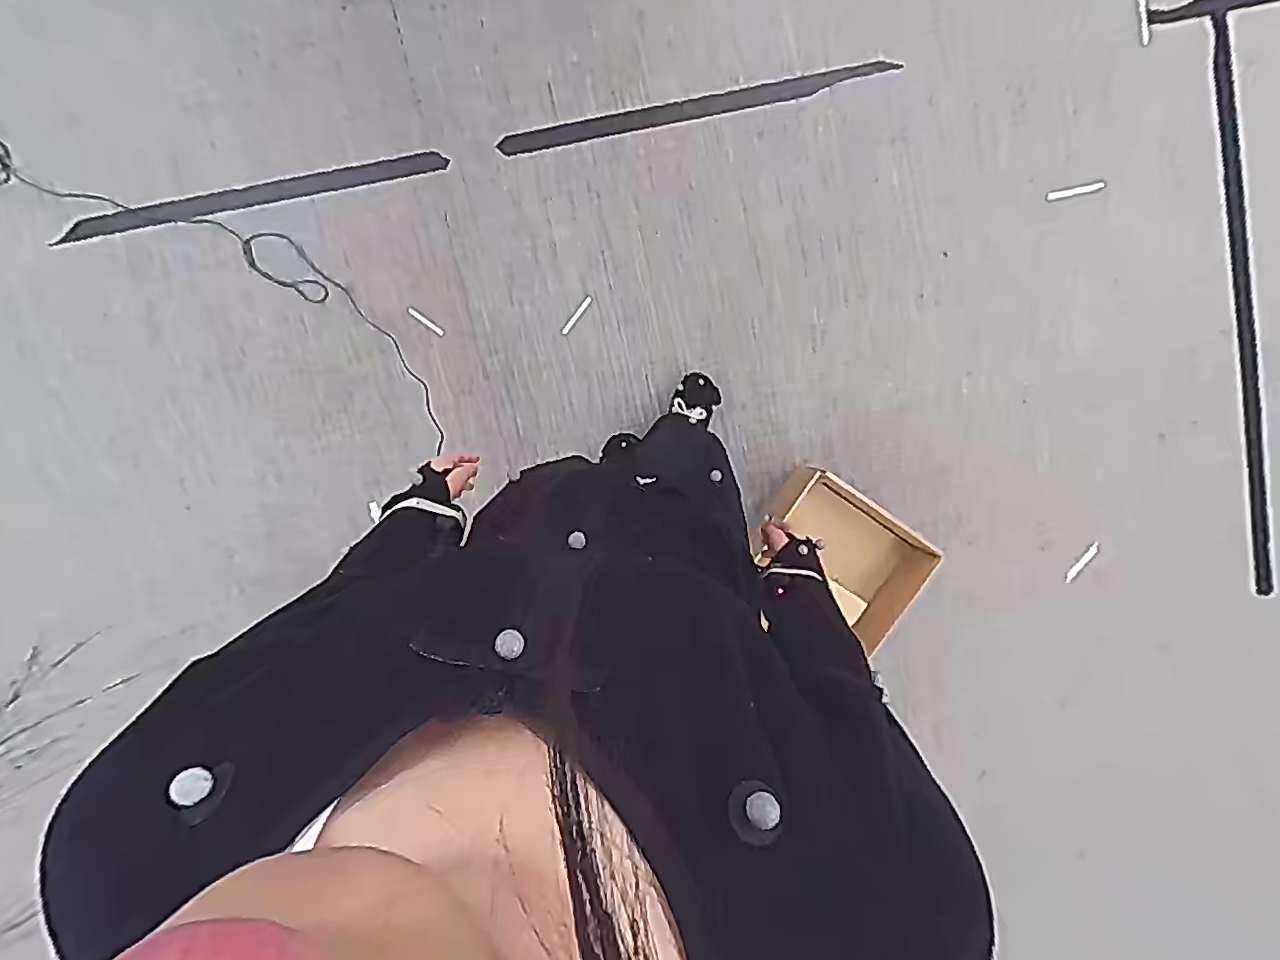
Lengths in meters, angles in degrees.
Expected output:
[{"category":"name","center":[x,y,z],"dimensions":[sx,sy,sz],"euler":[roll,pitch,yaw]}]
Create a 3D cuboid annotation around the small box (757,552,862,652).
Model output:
[{"category":"small box","center":[0.435,0.311,1.420],"dimensions":[0.179,0.176,0.168],"euler":[34,95,-5]}]
